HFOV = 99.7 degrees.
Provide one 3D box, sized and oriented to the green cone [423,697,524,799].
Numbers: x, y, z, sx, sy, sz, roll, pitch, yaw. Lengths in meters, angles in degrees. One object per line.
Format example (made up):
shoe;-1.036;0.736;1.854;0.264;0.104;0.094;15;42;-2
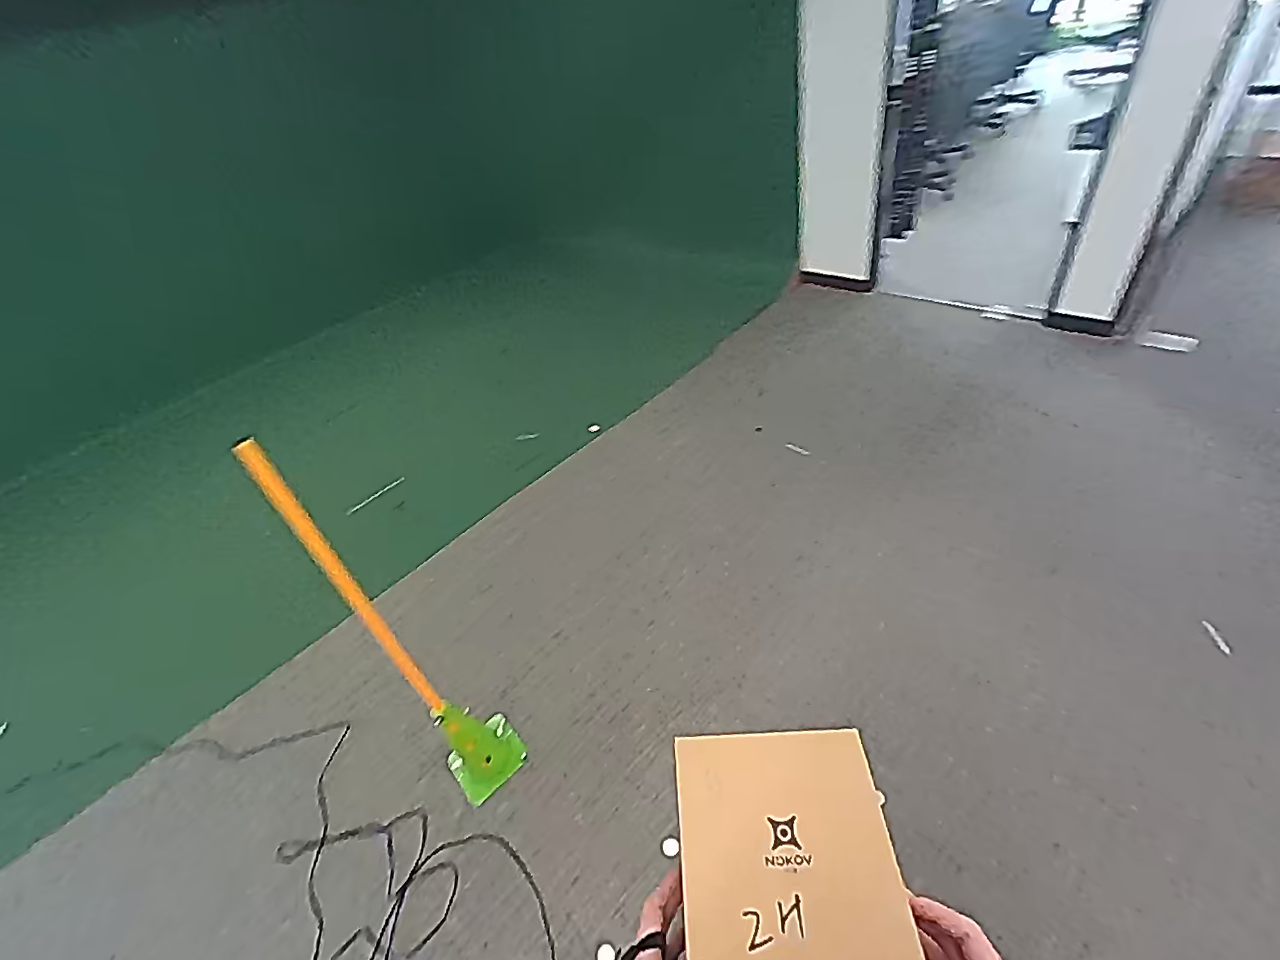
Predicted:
green cone;-0.511;0.708;1.538;0.202;0.368;0.200;-38;46;-23
